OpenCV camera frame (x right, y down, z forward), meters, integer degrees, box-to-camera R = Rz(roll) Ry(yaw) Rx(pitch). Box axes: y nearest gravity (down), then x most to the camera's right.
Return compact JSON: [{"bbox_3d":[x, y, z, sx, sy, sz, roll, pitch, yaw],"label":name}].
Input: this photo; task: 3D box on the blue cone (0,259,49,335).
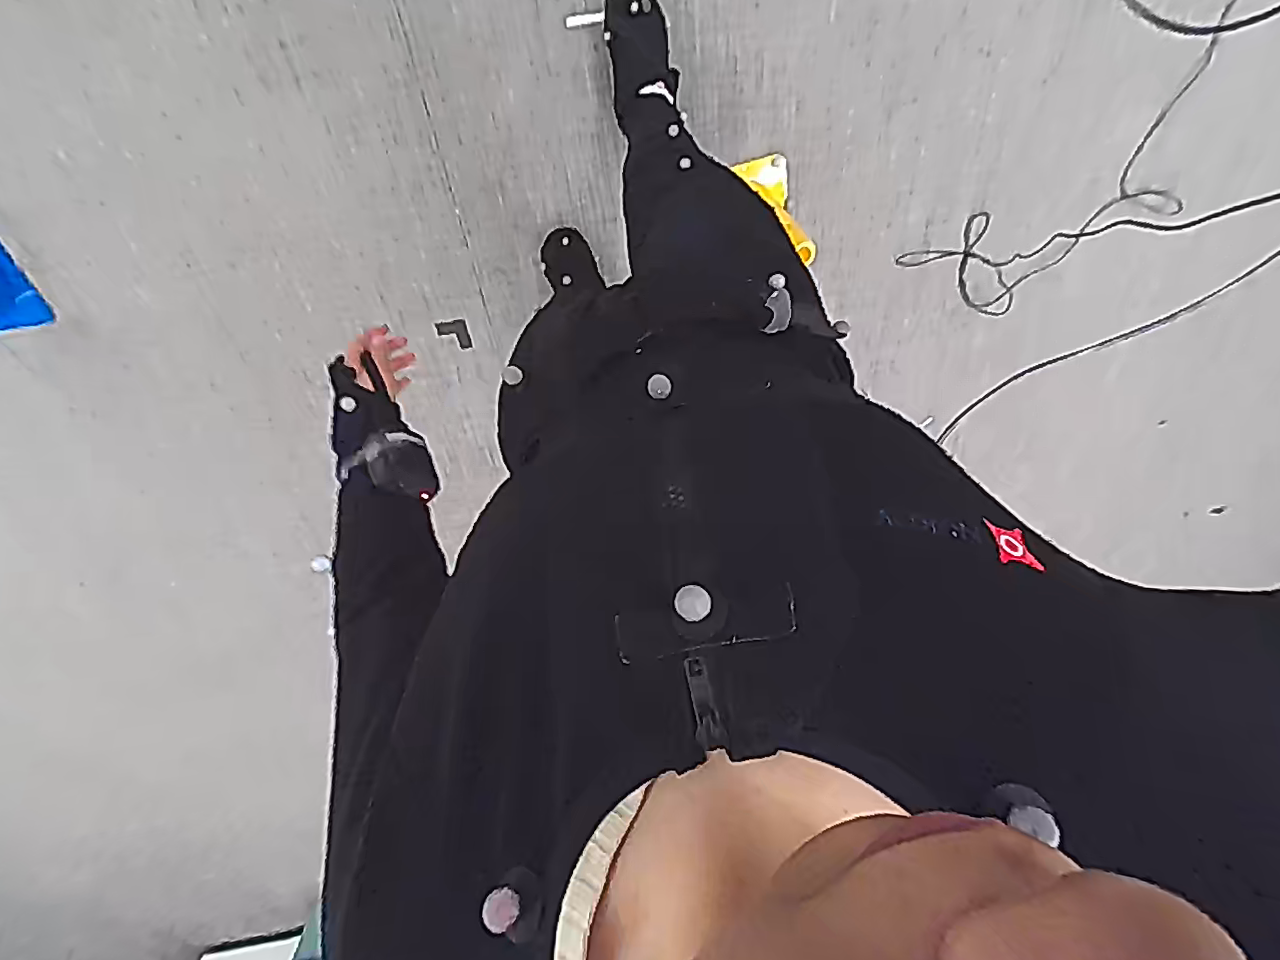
[{"bbox_3d":[-1.290,-0.277,0.928,0.193,0.380,0.192,-9,127,-2],"label":"blue cone"}]
